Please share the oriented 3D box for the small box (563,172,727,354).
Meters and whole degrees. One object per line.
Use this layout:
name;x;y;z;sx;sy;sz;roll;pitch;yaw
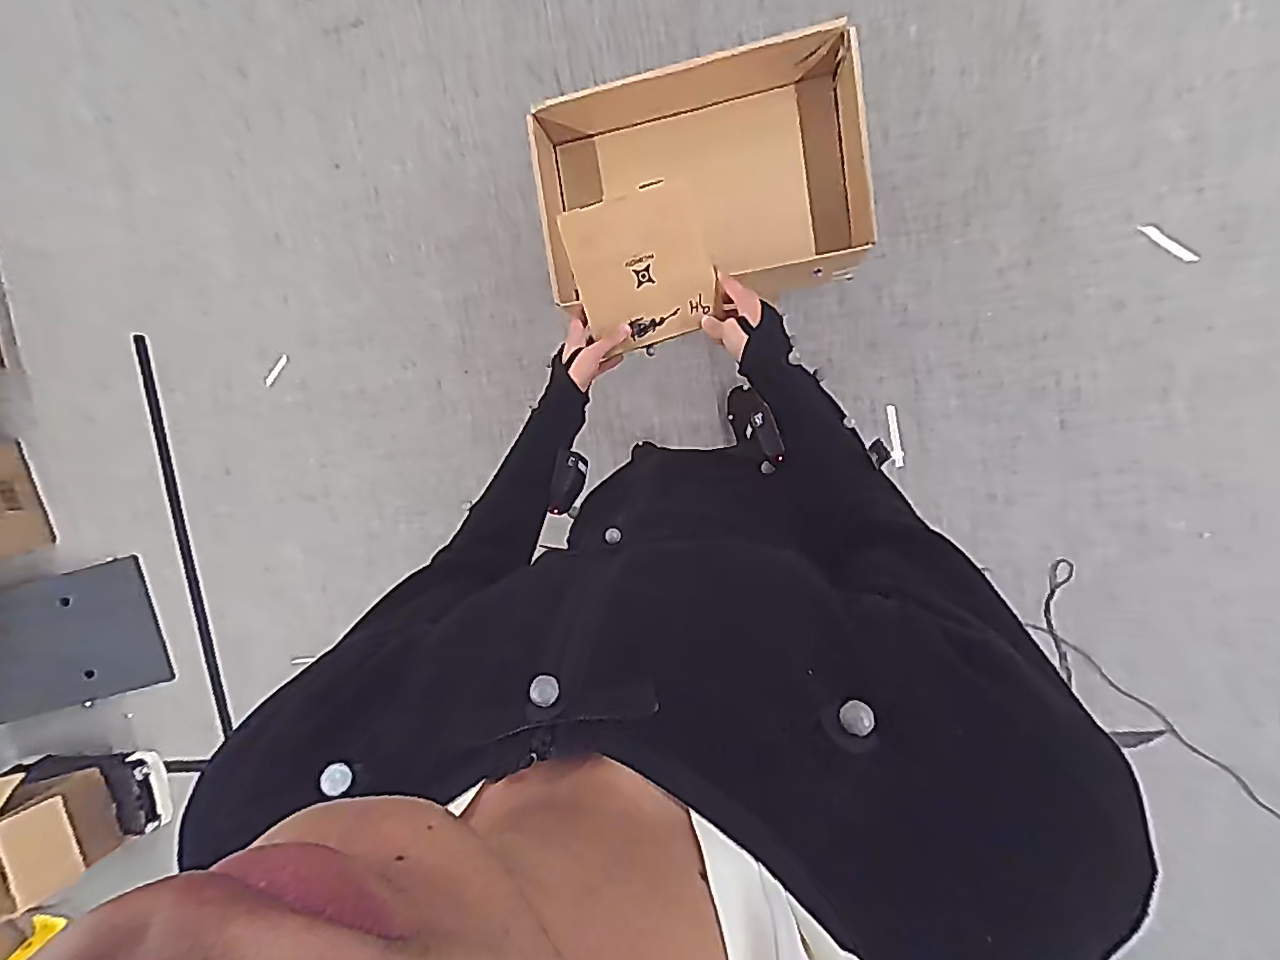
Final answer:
small box;0.009;-0.277;0.730;0.168;0.176;0.179;-15;104;6
